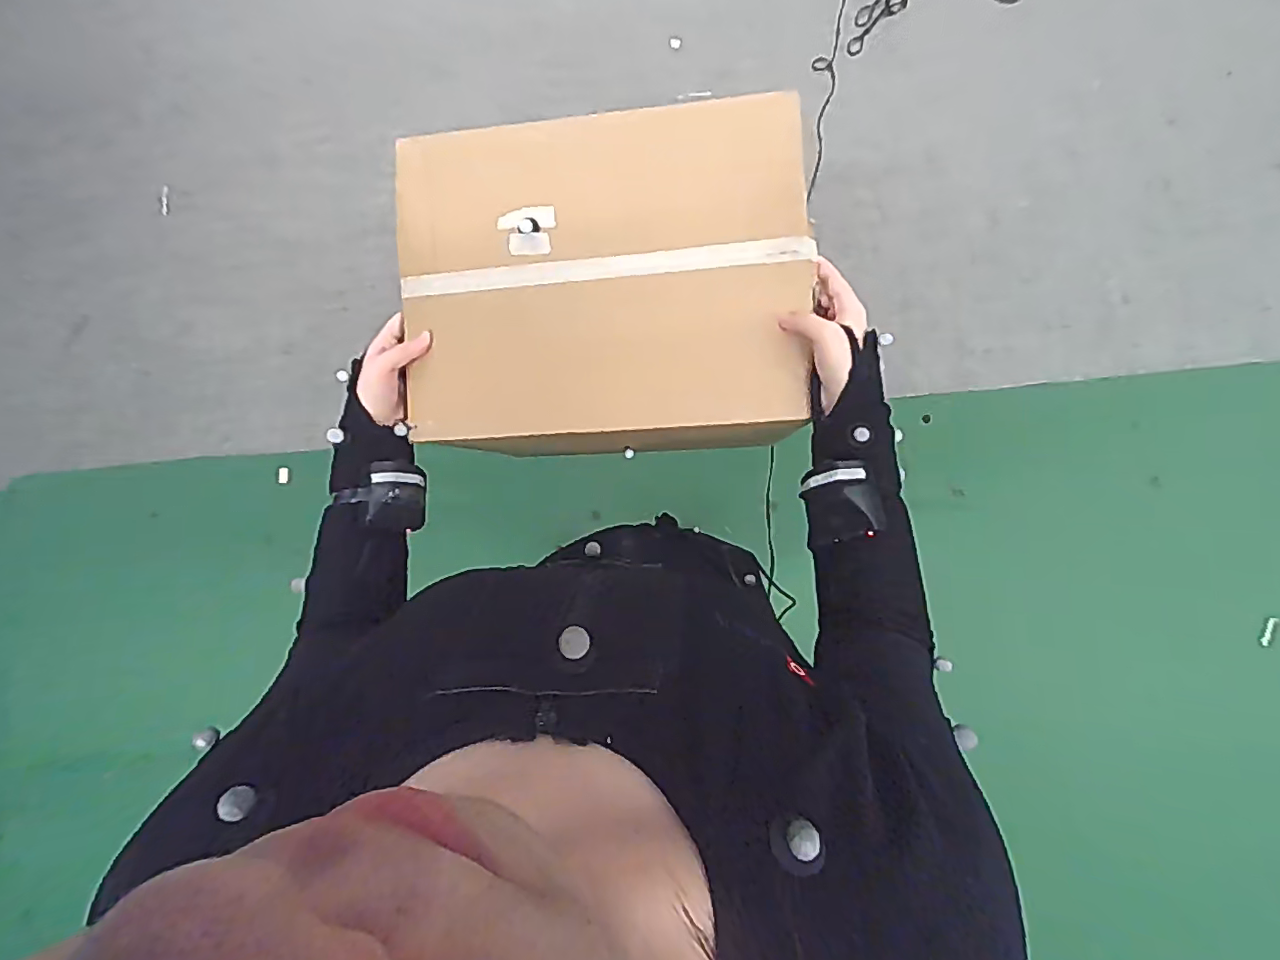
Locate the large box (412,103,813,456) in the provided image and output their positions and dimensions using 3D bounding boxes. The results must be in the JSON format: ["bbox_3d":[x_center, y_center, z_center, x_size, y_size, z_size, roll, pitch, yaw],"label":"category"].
[{"bbox_3d":[-0.017,-0.200,0.691,0.408,0.320,0.320,-3,89,8],"label":"large box"}]
